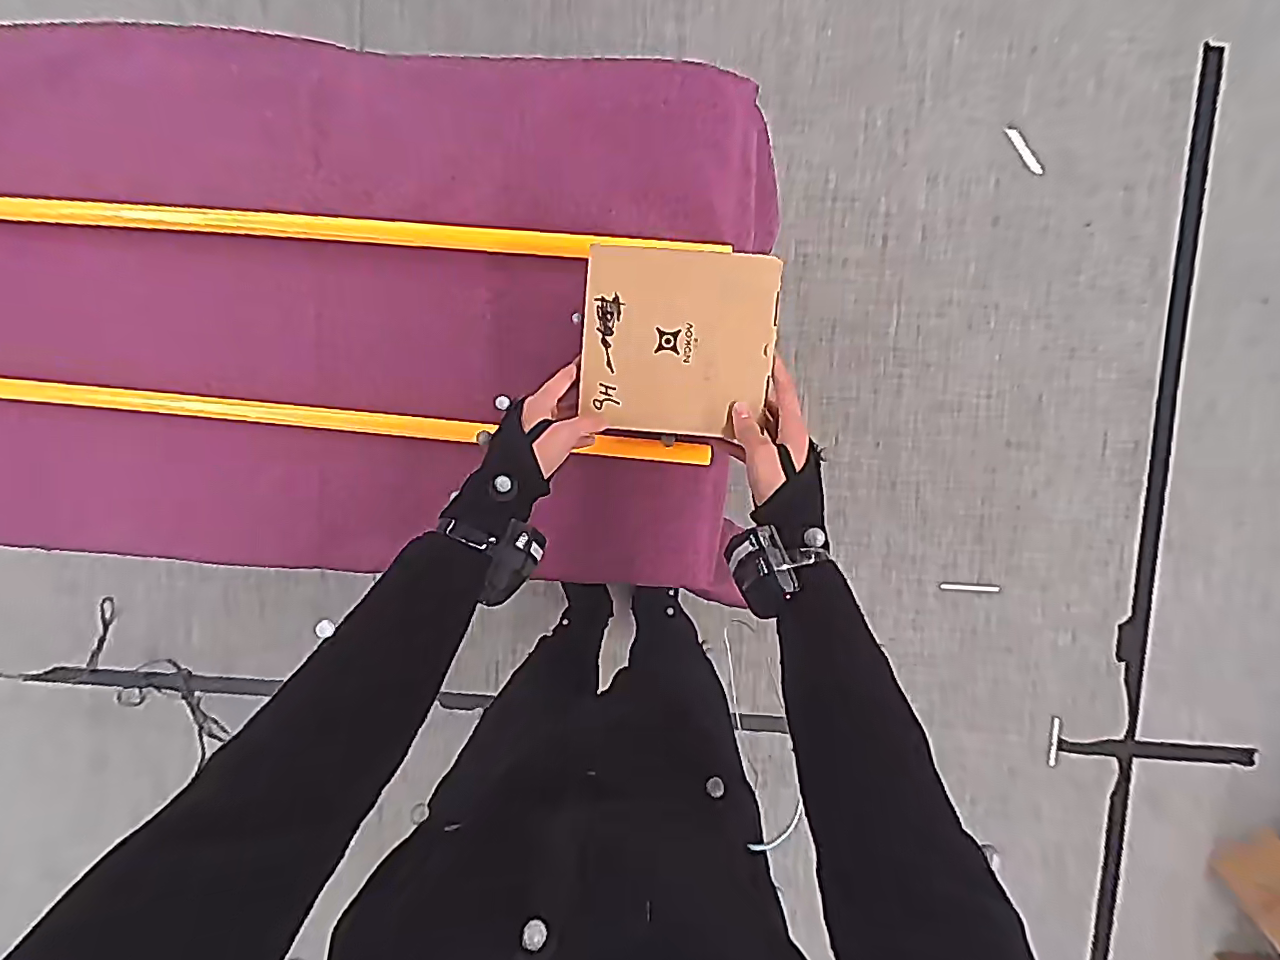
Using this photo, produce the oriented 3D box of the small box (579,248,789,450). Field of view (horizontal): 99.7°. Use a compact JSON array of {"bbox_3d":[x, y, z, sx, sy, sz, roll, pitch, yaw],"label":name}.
[{"bbox_3d":[0.040,-0.126,0.566,0.179,0.176,0.168,6,96,2],"label":"small box"}]
